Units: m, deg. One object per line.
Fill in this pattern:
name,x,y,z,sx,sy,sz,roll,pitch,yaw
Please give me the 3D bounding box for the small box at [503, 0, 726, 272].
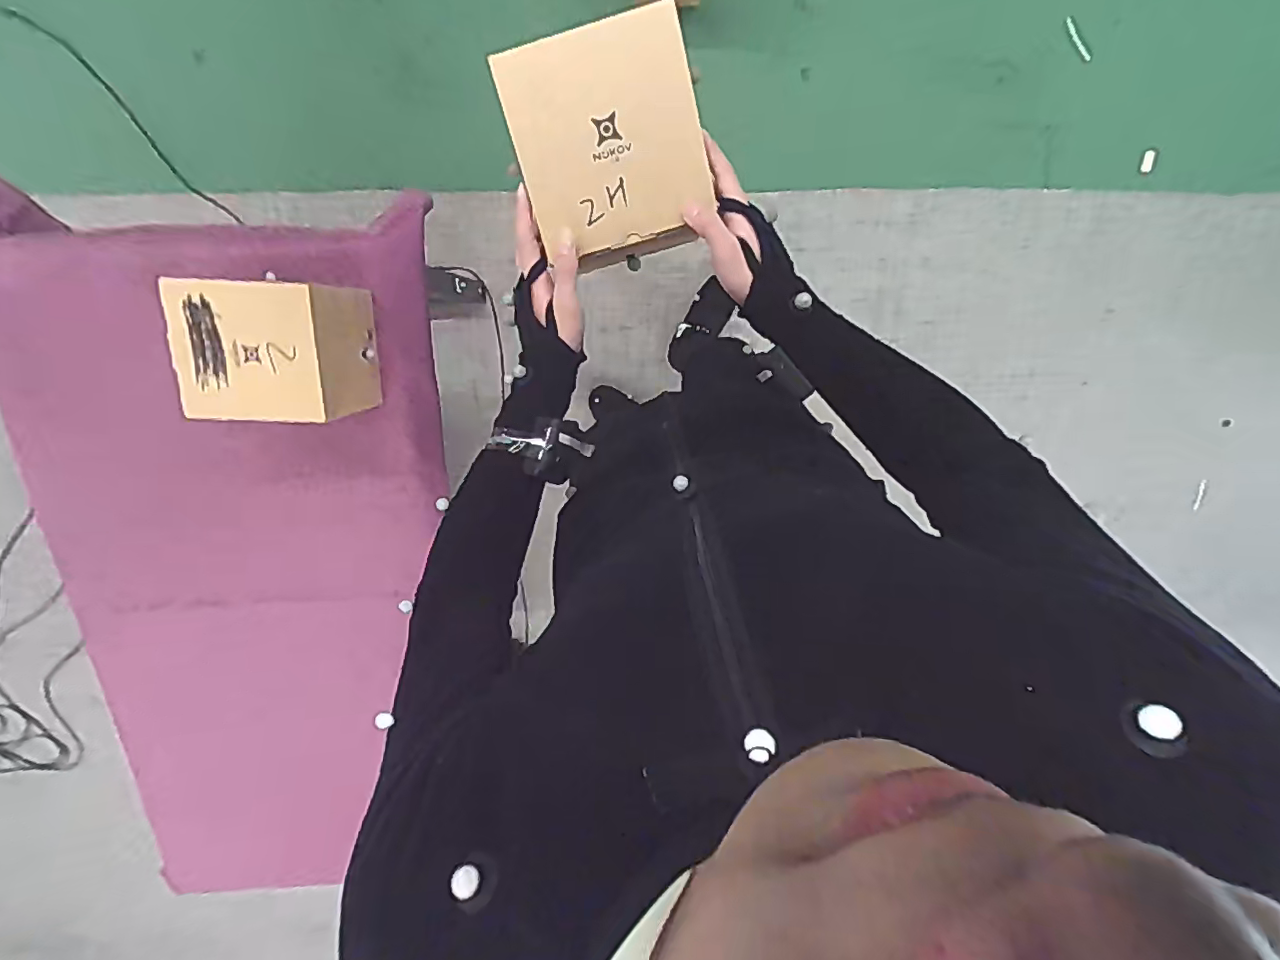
small box,-0.021,-0.326,0.553,0.168,0.176,0.179,-14,107,4
